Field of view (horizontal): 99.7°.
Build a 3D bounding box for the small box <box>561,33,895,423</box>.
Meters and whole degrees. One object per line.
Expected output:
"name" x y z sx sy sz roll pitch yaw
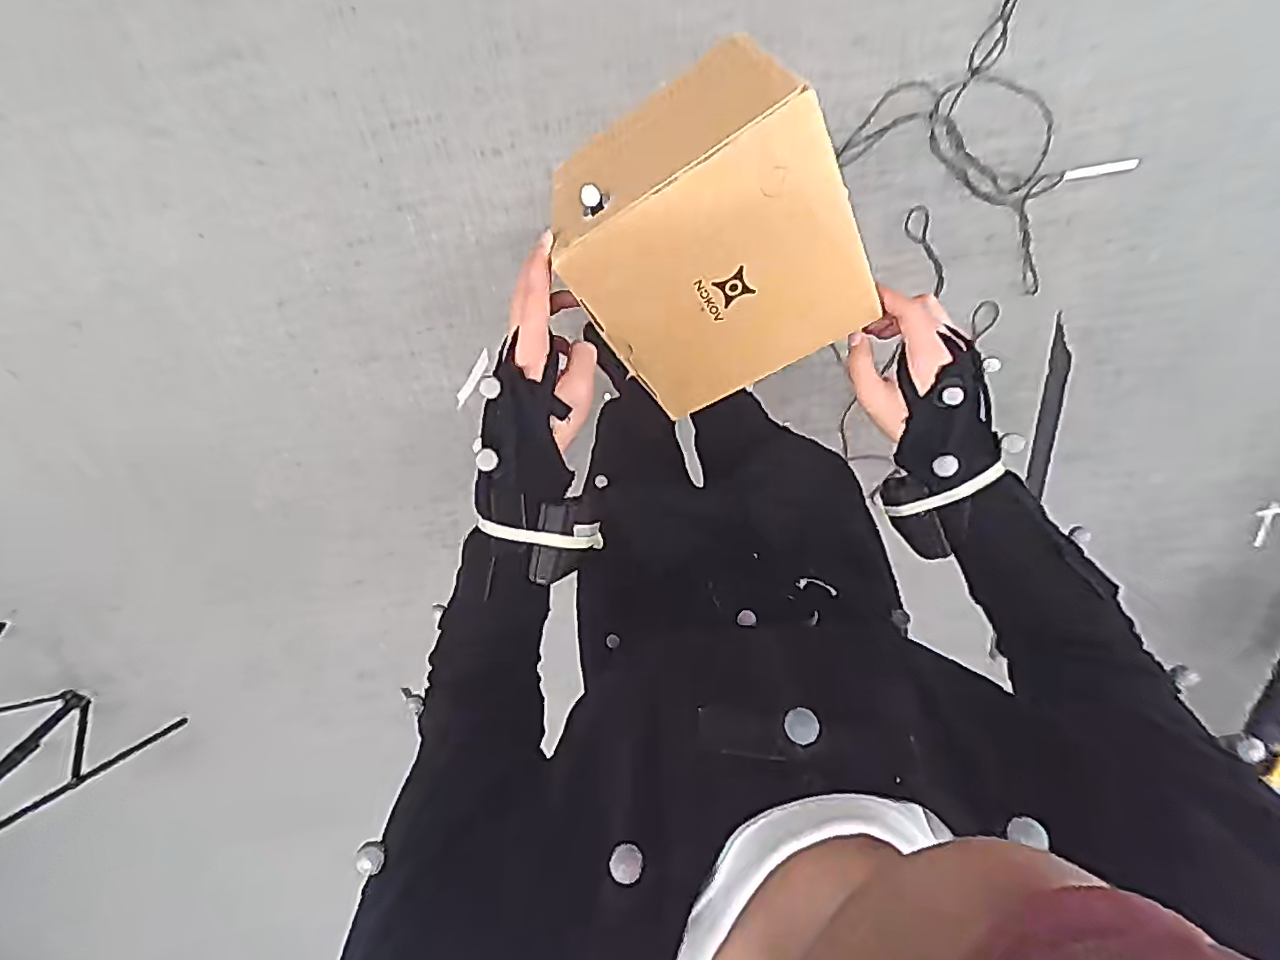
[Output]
"small box" 0.055 -0.182 0.402 0.179 0.176 0.168 -26 135 20
